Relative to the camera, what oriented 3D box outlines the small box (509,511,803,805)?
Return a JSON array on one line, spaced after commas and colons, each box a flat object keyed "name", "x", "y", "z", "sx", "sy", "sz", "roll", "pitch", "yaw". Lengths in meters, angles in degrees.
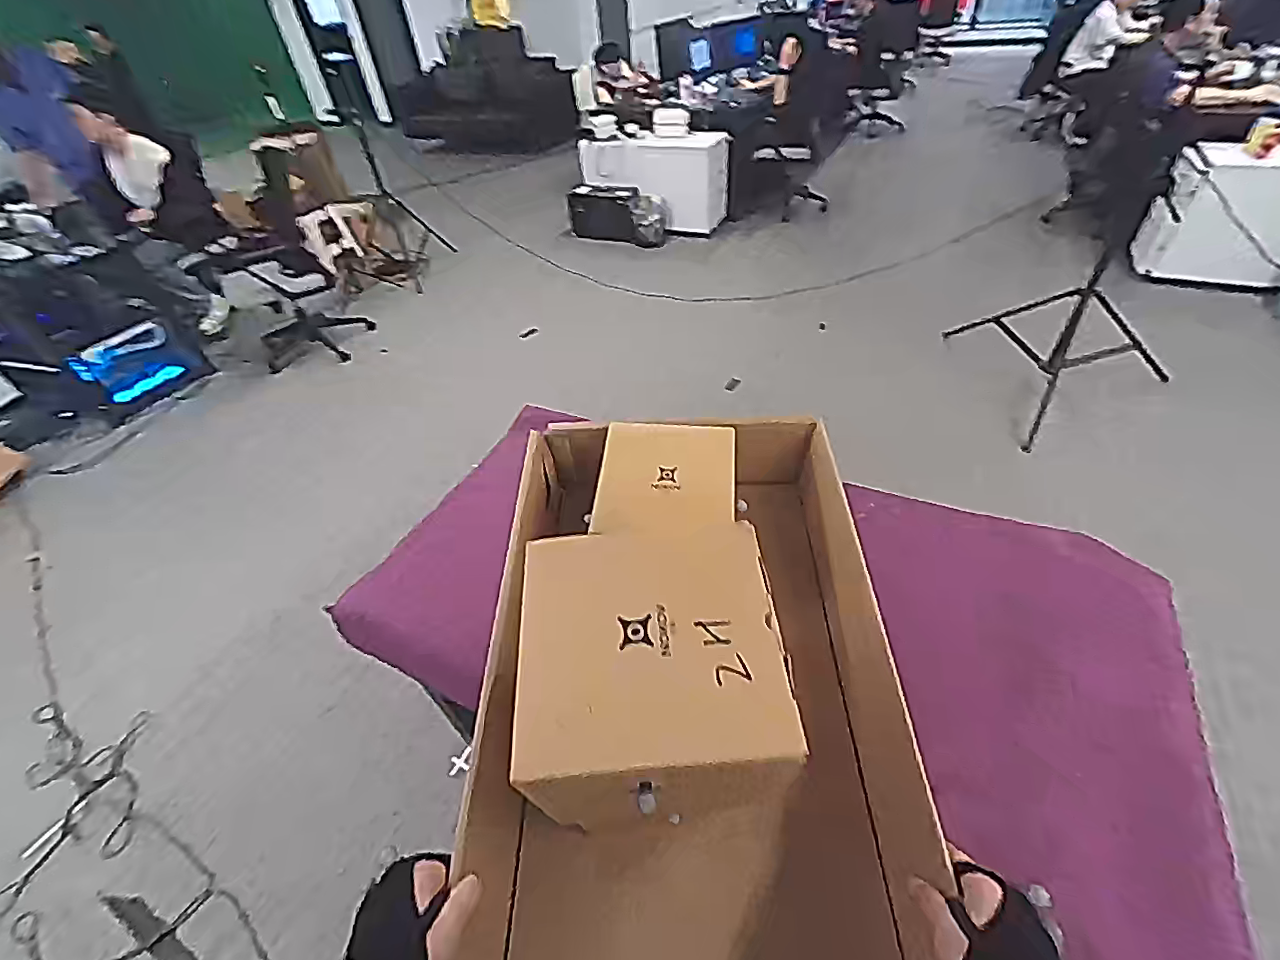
[{"name": "small box", "x": 0.010, "y": 0.144, "z": 0.424, "sx": 0.179, "sy": 0.176, "sz": 0.168, "roll": -4, "pitch": 51, "yaw": 0}]
